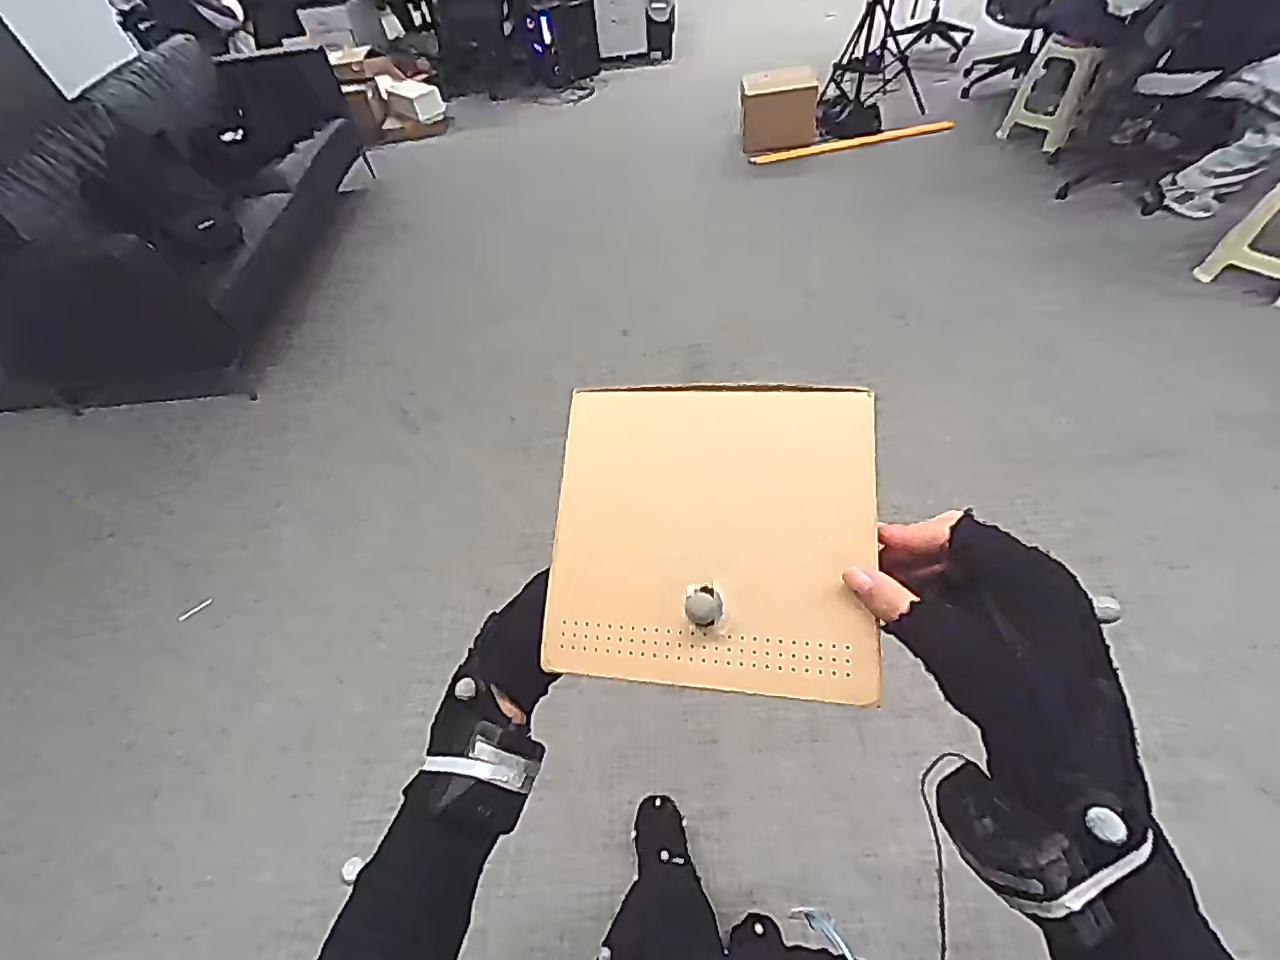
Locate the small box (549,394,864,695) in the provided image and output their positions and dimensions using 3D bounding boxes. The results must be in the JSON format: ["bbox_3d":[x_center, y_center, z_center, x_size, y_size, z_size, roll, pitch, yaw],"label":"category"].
[{"bbox_3d":[0.051,0.049,0.380,0.179,0.168,0.176,1,76,12],"label":"small box"}]
